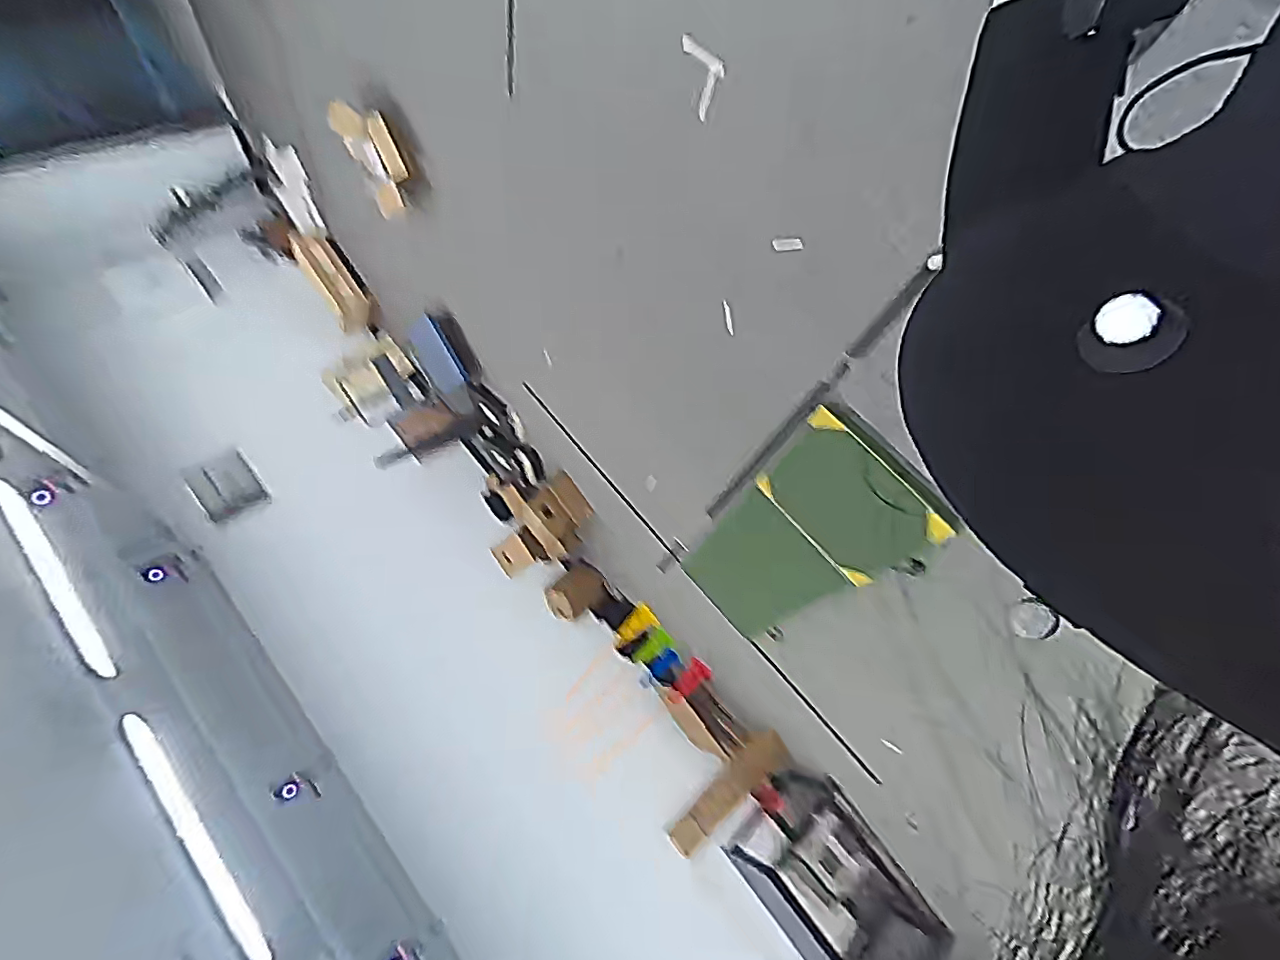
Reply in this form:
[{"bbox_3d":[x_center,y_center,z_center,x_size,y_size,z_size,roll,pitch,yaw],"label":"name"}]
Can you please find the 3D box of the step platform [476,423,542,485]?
[{"bbox_3d":[-1.121,-0.221,4.576,0.684,0.204,0.286,31,145,37],"label":"step platform"}]
